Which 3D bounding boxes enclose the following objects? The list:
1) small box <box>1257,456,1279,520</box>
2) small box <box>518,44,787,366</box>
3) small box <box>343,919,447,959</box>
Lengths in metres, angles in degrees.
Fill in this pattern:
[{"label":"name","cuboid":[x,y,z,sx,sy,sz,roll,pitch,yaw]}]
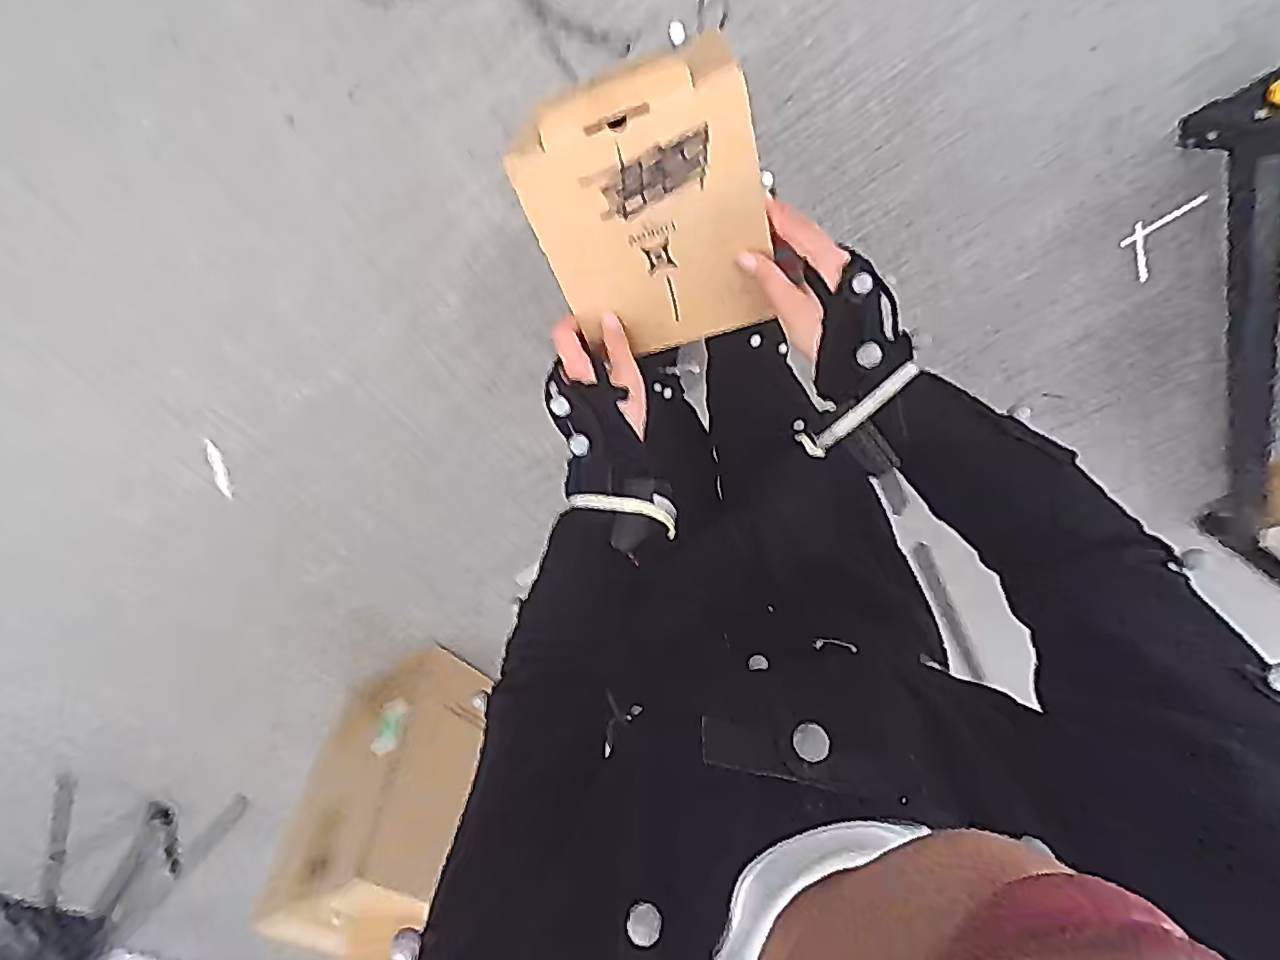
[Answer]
[{"label":"small box","cuboid":[1.584,0.025,1.237,0.168,0.176,0.179,-31,121,18]},{"label":"small box","cuboid":[0.018,-0.230,0.453,0.168,0.176,0.179,-12,136,13]},{"label":"small box","cuboid":[-0.580,1.150,1.251,0.168,0.176,0.179,-32,122,17]}]
